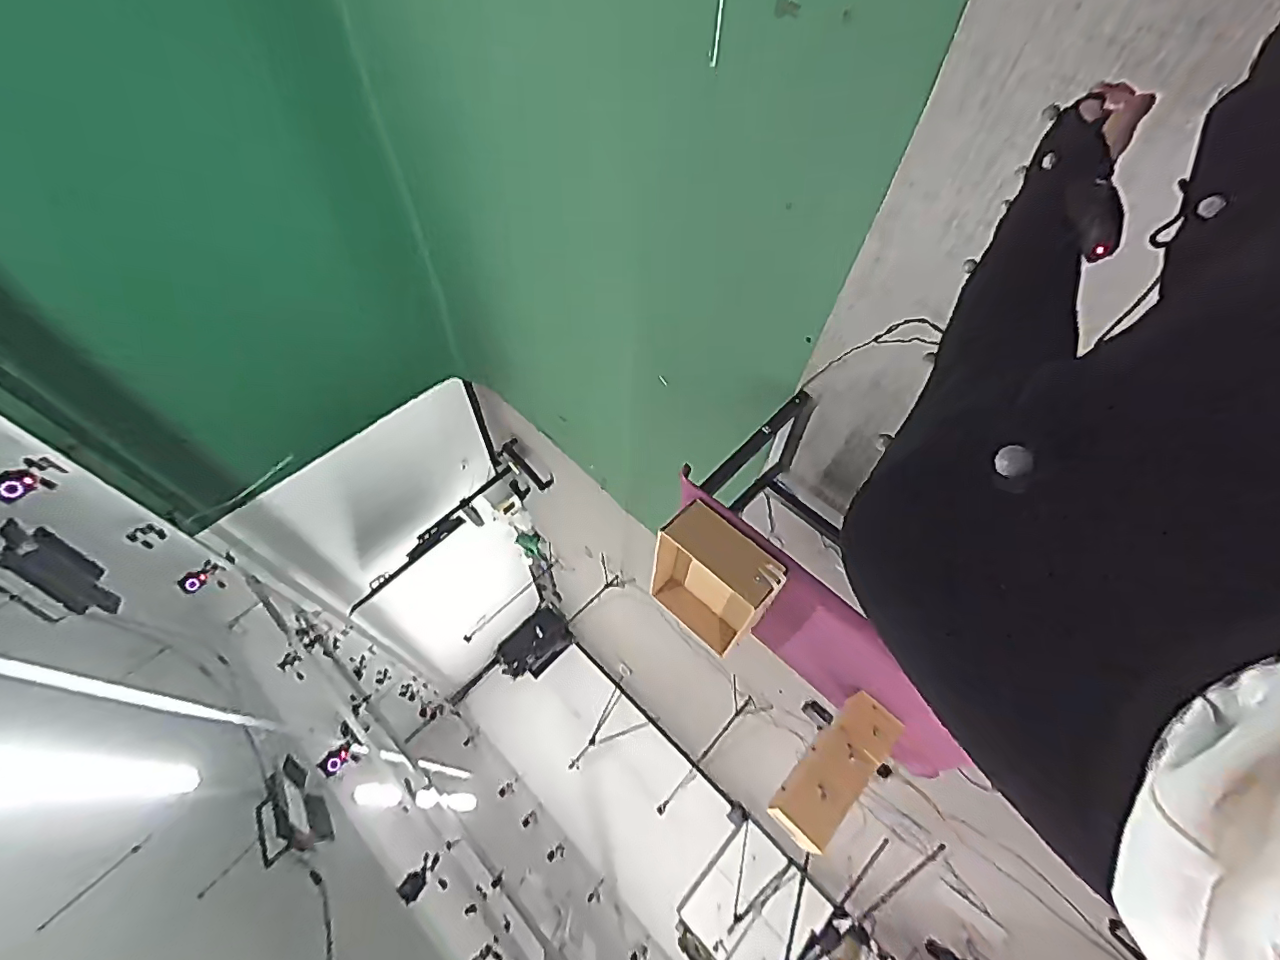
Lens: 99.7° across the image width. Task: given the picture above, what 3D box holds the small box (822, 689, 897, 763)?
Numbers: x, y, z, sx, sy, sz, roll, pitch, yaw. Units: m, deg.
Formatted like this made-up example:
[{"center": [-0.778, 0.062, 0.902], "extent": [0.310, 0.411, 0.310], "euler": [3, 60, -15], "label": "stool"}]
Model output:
[{"center": [0.754, 0.850, 1.865], "extent": [0.168, 0.176, 0.179], "euler": [39, 155, 21], "label": "small box"}]

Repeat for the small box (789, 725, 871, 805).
[{"center": [0.635, 0.946, 1.803], "extent": [0.168, 0.176, 0.179], "euler": [41, 154, 17], "label": "small box"}]
